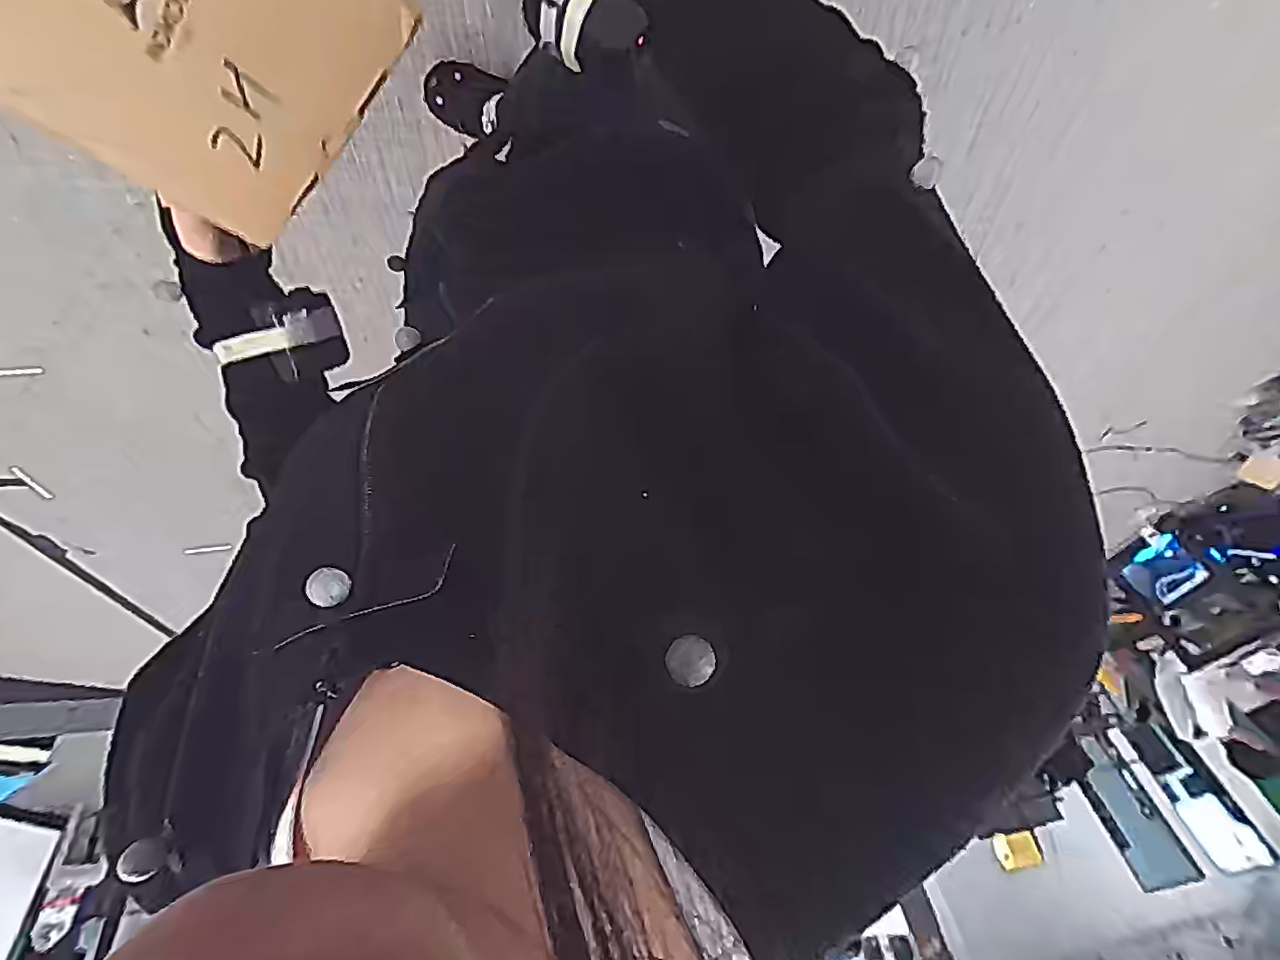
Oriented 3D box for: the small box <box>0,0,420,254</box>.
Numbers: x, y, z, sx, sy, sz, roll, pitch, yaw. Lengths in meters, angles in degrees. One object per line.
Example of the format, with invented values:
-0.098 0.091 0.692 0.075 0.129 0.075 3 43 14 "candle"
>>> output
-0.243 -0.267 0.278 0.168 0.176 0.179 -34 146 25 "small box"
